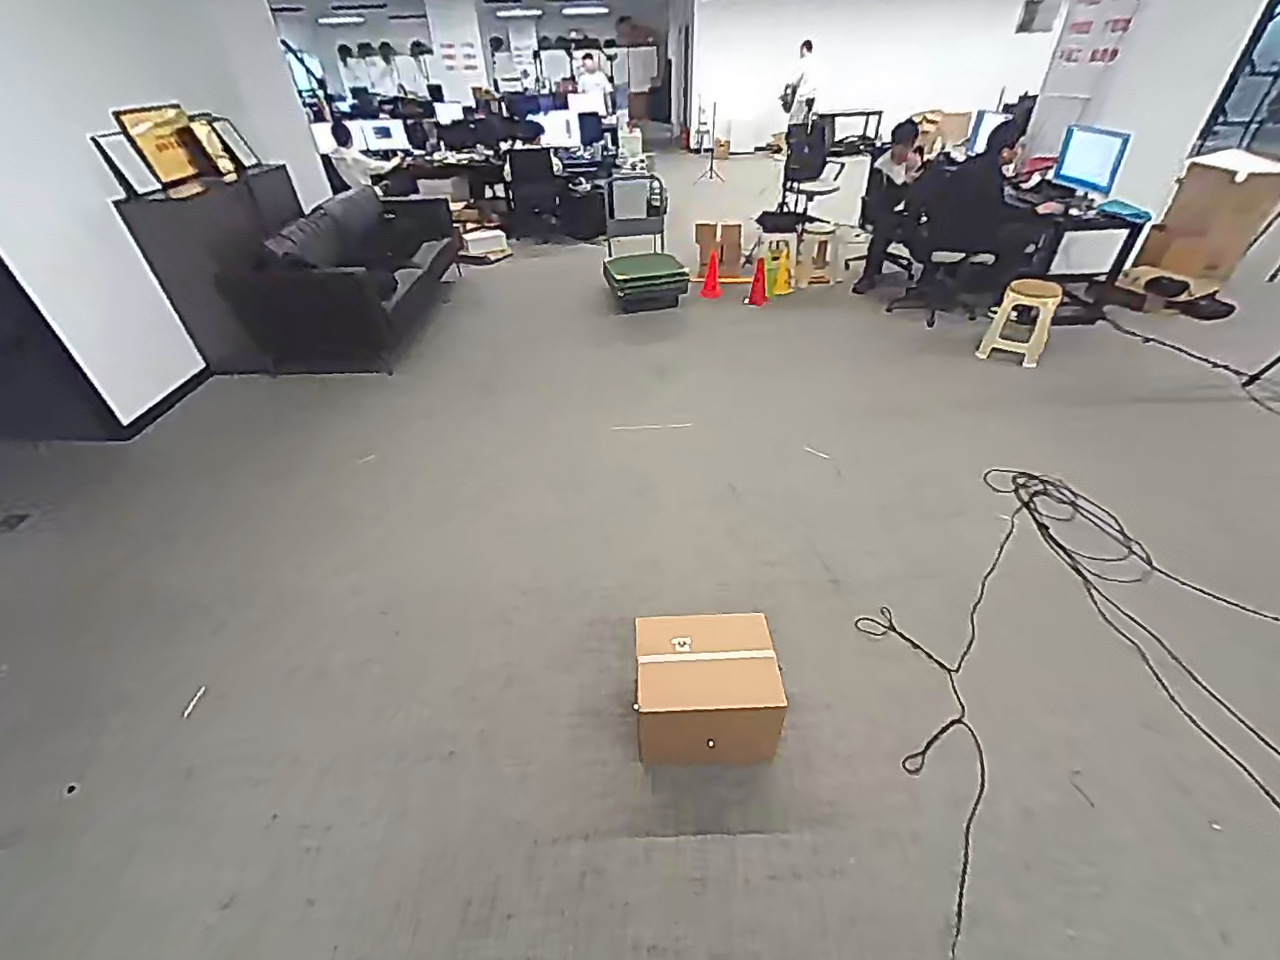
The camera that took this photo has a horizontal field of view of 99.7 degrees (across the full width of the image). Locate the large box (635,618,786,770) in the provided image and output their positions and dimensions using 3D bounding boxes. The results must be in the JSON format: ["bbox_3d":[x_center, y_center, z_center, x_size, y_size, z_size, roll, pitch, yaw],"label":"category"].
[{"bbox_3d":[0.199,0.656,1.659,0.408,0.320,0.320,-4,37,0],"label":"large box"}]
